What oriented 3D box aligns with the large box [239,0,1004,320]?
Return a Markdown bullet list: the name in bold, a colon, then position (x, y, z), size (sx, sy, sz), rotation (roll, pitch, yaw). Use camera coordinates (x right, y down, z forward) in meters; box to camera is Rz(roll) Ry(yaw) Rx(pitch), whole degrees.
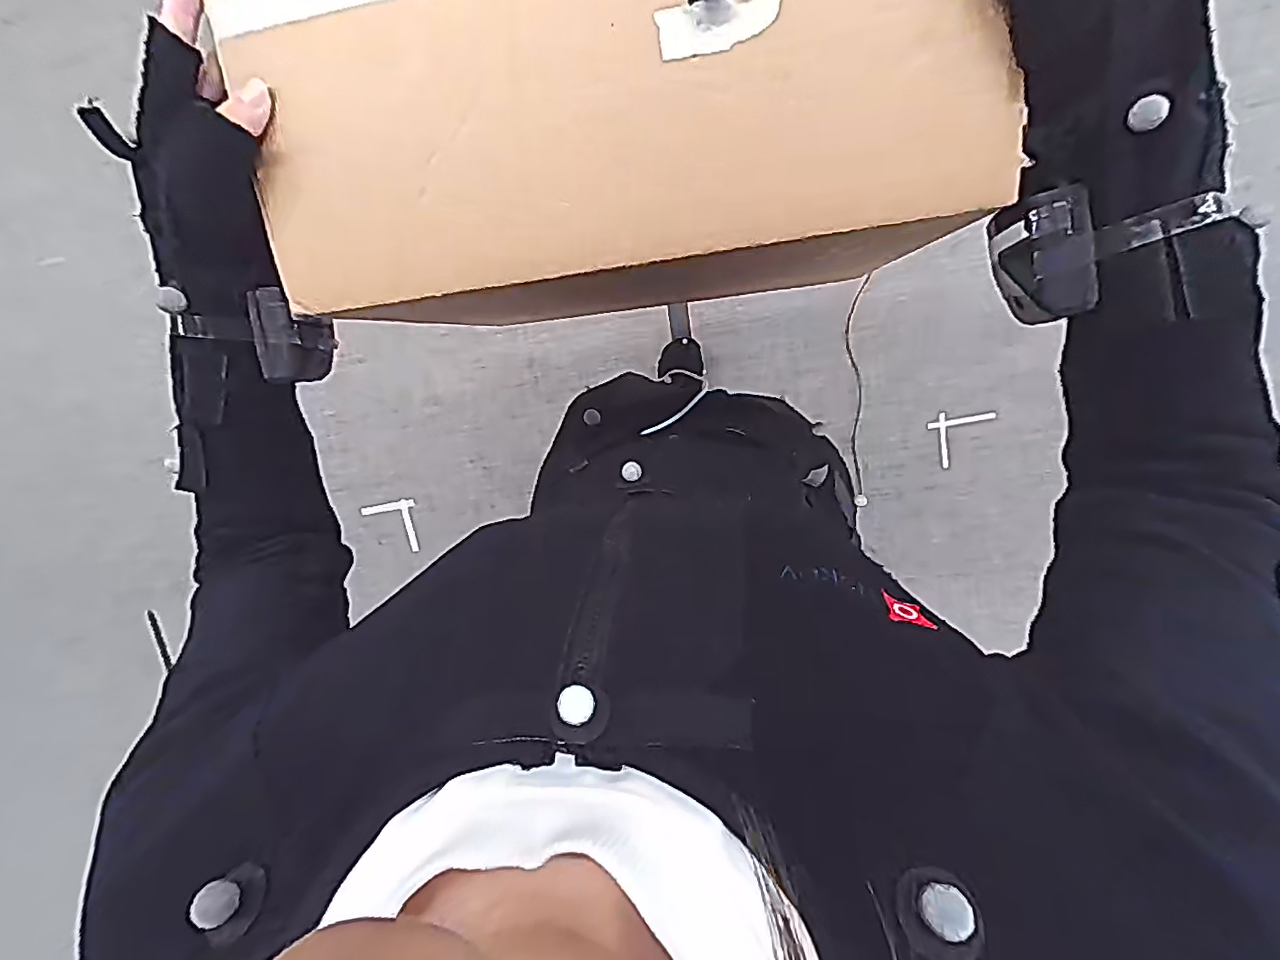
- **large box**: position (-0.012, -0.316, 0.416), size (0.408, 0.320, 0.320), rotation (-5, 104, 10)
